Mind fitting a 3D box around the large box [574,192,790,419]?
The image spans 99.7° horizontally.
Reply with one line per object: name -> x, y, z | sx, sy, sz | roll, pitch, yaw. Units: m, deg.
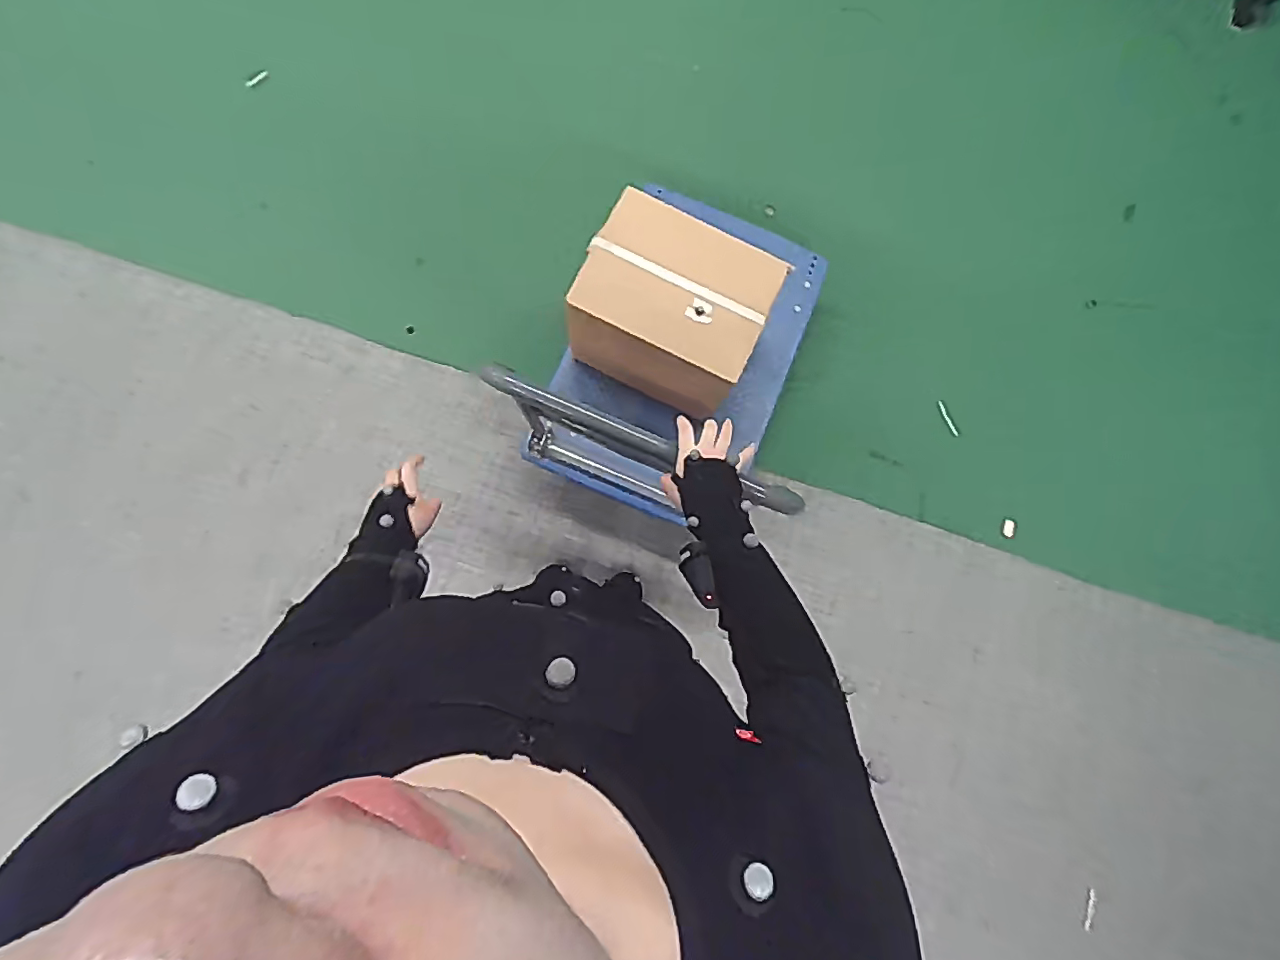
large box -> 0.082, -0.403, 1.325 | 0.408, 0.320, 0.320 | 26, 79, 0
